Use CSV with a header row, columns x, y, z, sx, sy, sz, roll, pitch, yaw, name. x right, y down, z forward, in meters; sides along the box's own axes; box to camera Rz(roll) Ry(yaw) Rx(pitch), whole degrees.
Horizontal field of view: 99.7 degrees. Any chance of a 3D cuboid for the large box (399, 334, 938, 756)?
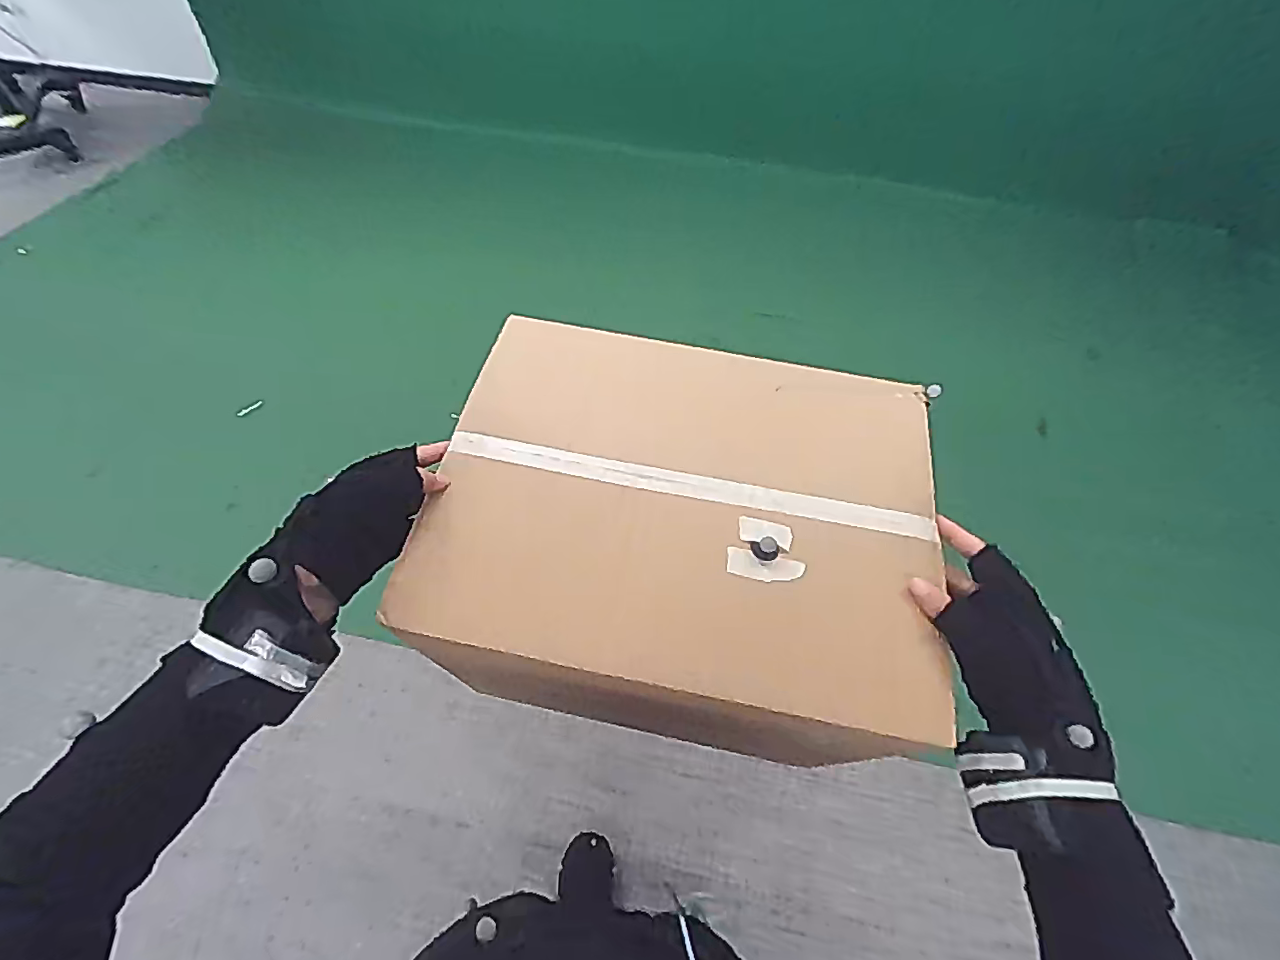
x,y,z,sx,sy,sz,roll,pitch,yaw,name
0.034,0.086,0.590,0.408,0.320,0.320,10,61,4,large box
